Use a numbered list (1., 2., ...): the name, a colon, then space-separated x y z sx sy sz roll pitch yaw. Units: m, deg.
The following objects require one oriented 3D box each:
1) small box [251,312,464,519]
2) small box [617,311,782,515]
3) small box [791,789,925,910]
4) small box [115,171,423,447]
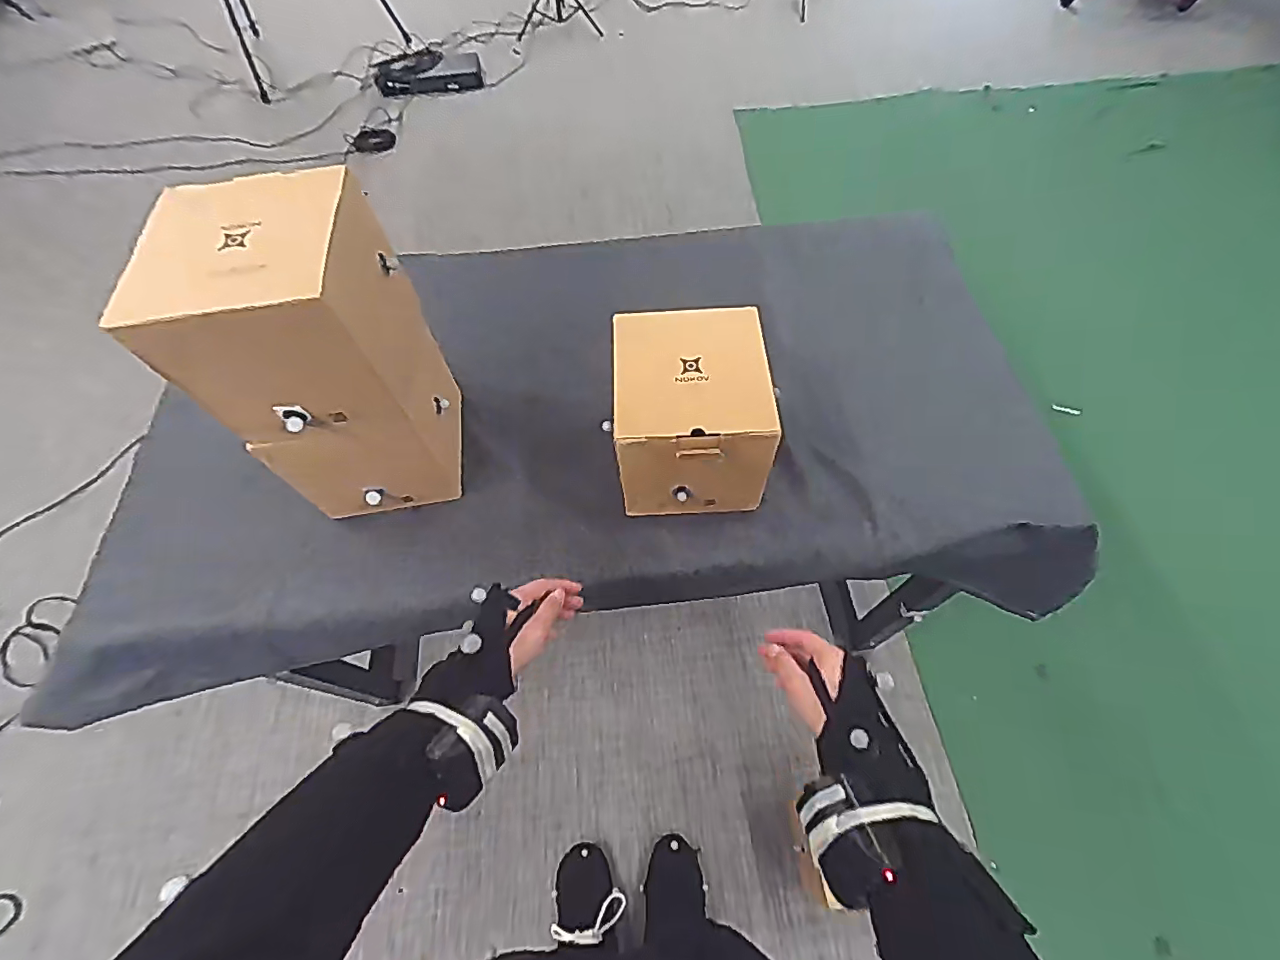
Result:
1. small box: -0.321 -0.074 0.657 0.168 0.176 0.179 -9 61 -3
2. small box: 0.058 -0.075 0.644 0.168 0.176 0.179 -3 60 0
3. small box: 0.397 0.694 1.026 0.179 0.176 0.168 -7 59 -2
4. small box: -0.322 -0.157 0.517 0.168 0.176 0.179 -10 61 -2
